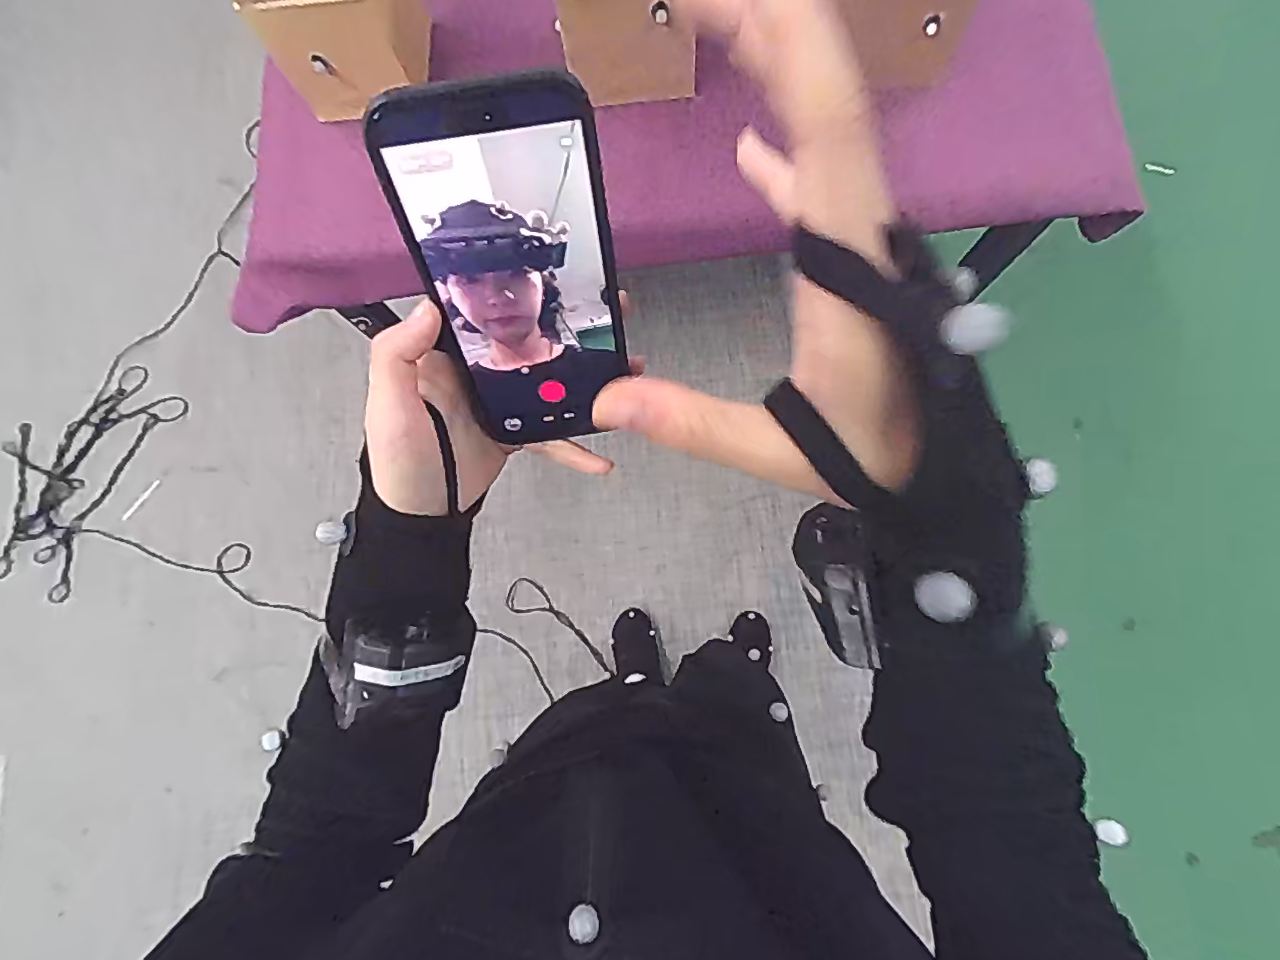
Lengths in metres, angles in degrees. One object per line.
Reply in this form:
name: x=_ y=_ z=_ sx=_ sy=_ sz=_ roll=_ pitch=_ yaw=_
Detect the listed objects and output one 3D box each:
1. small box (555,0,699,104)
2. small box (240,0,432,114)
small box: x=-0.014 y=-0.644 z=0.722 sx=0.179 sy=0.176 sz=0.168 roll=-3 pitch=78 yaw=4
small box: x=-0.405 y=-0.643 z=0.750 sx=0.168 sy=0.176 sz=0.179 roll=-2 pitch=78 yaw=3
